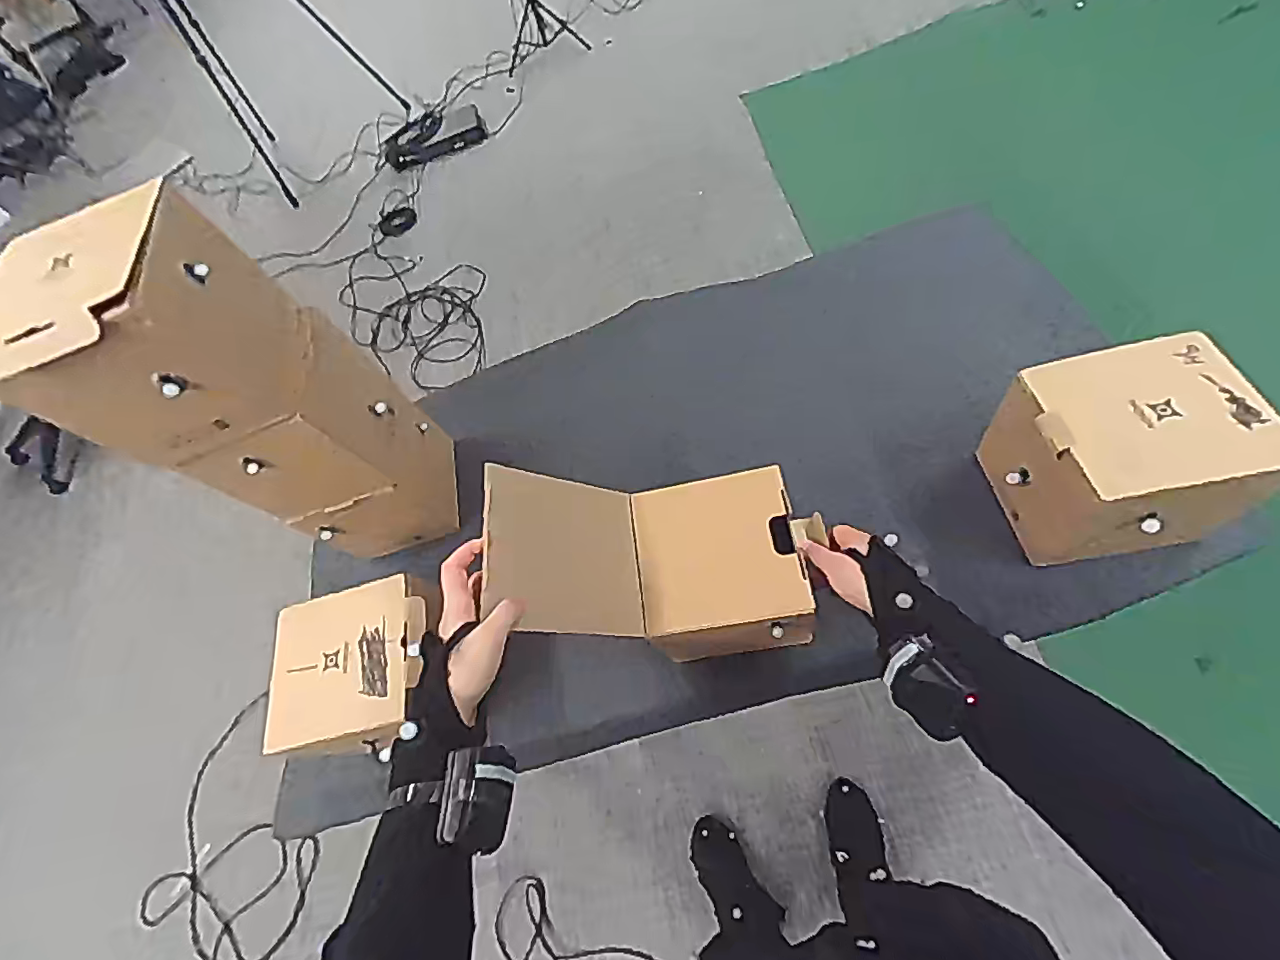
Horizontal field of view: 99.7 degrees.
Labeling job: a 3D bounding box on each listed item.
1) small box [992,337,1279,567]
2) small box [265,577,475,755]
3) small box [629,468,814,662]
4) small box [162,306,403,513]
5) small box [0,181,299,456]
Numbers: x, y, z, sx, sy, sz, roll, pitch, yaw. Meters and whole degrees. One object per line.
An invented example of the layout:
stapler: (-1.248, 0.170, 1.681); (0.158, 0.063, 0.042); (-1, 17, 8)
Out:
small box: (0.511, -0.019, 0.582); (0.179, 0.176, 0.168); (-12, 58, 10)
small box: (-0.321, 0.238, 0.682); (0.179, 0.176, 0.168); (-16, 62, 7)
small box: (0.097, 0.110, 0.638); (0.179, 0.176, 0.168); (-12, 61, 9)
small box: (-0.425, -0.076, 0.673); (0.179, 0.176, 0.168); (-16, 63, 6)
small box: (-0.469, -0.142, 0.532); (0.168, 0.176, 0.179); (-20, 61, 3)
